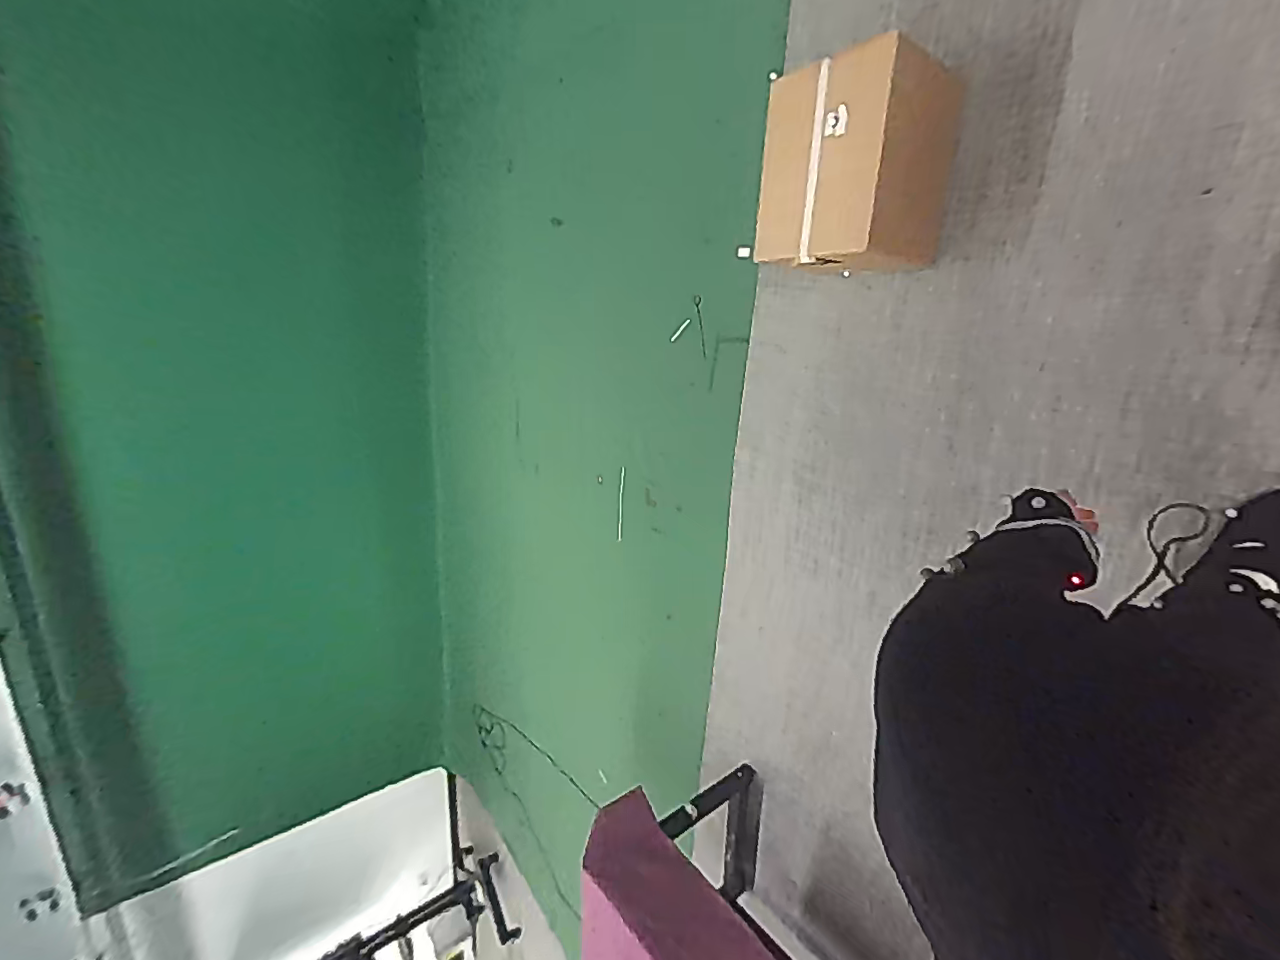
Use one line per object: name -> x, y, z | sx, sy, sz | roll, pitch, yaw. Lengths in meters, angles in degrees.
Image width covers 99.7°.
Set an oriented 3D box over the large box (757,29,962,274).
large box -> 0.514, -0.733, 1.295 | 0.320, 0.320, 0.408 | 21, 112, 49
